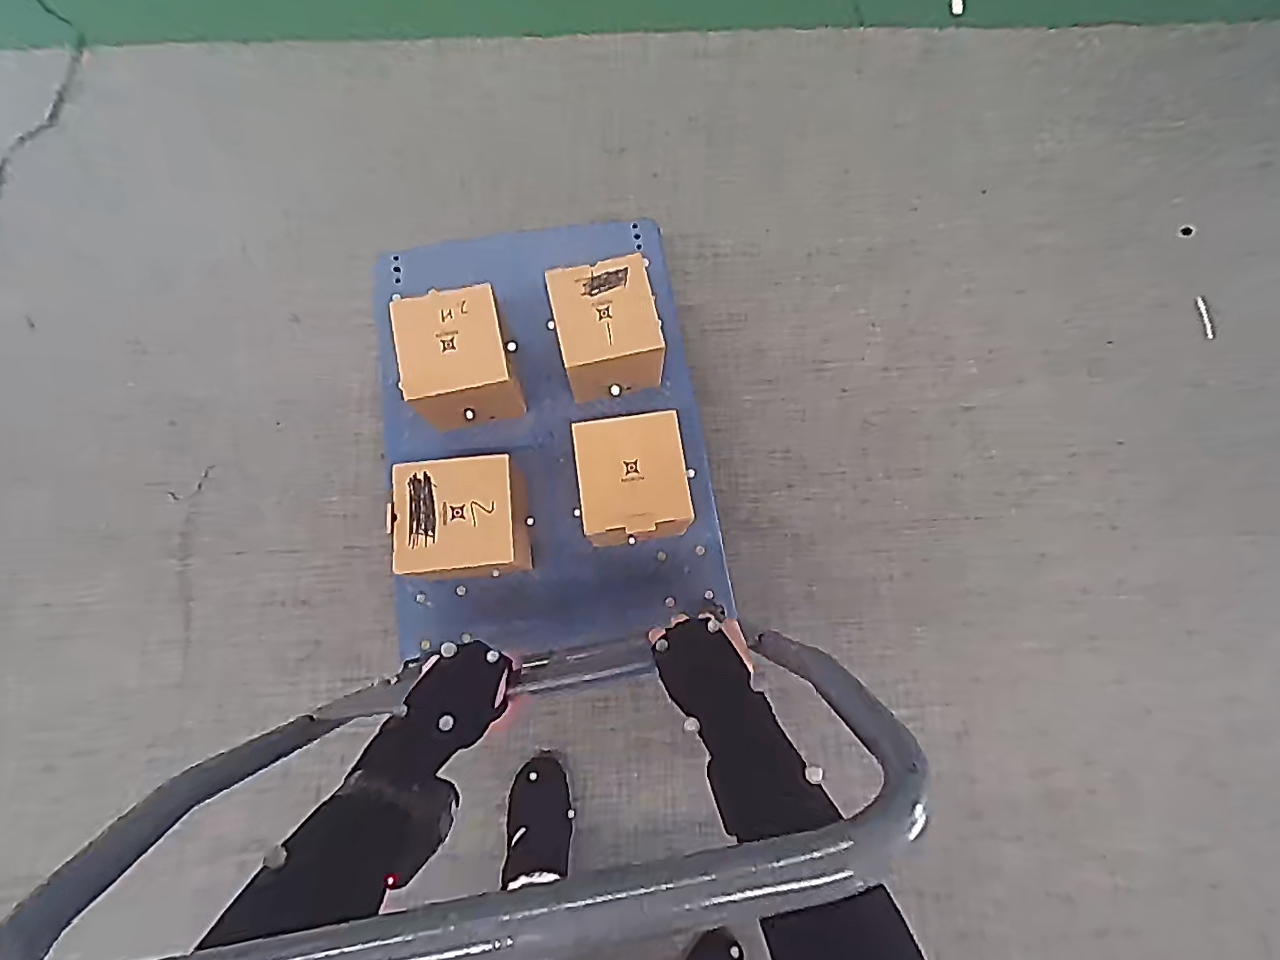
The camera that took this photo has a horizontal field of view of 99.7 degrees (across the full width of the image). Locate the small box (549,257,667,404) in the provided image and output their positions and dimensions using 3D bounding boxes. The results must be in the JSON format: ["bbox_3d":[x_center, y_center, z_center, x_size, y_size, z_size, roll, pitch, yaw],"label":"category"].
[{"bbox_3d":[-0.055,-0.253,0.948,0.168,0.176,0.179,-12,79,-3],"label":"small box"}]

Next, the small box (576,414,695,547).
[{"bbox_3d":[-0.012,0.008,0.893,0.168,0.176,0.179,-8,78,-3],"label":"small box"}]

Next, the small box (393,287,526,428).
[{"bbox_3d":[-0.301,-0.198,0.931,0.168,0.176,0.179,-12,78,-5],"label":"small box"}]
